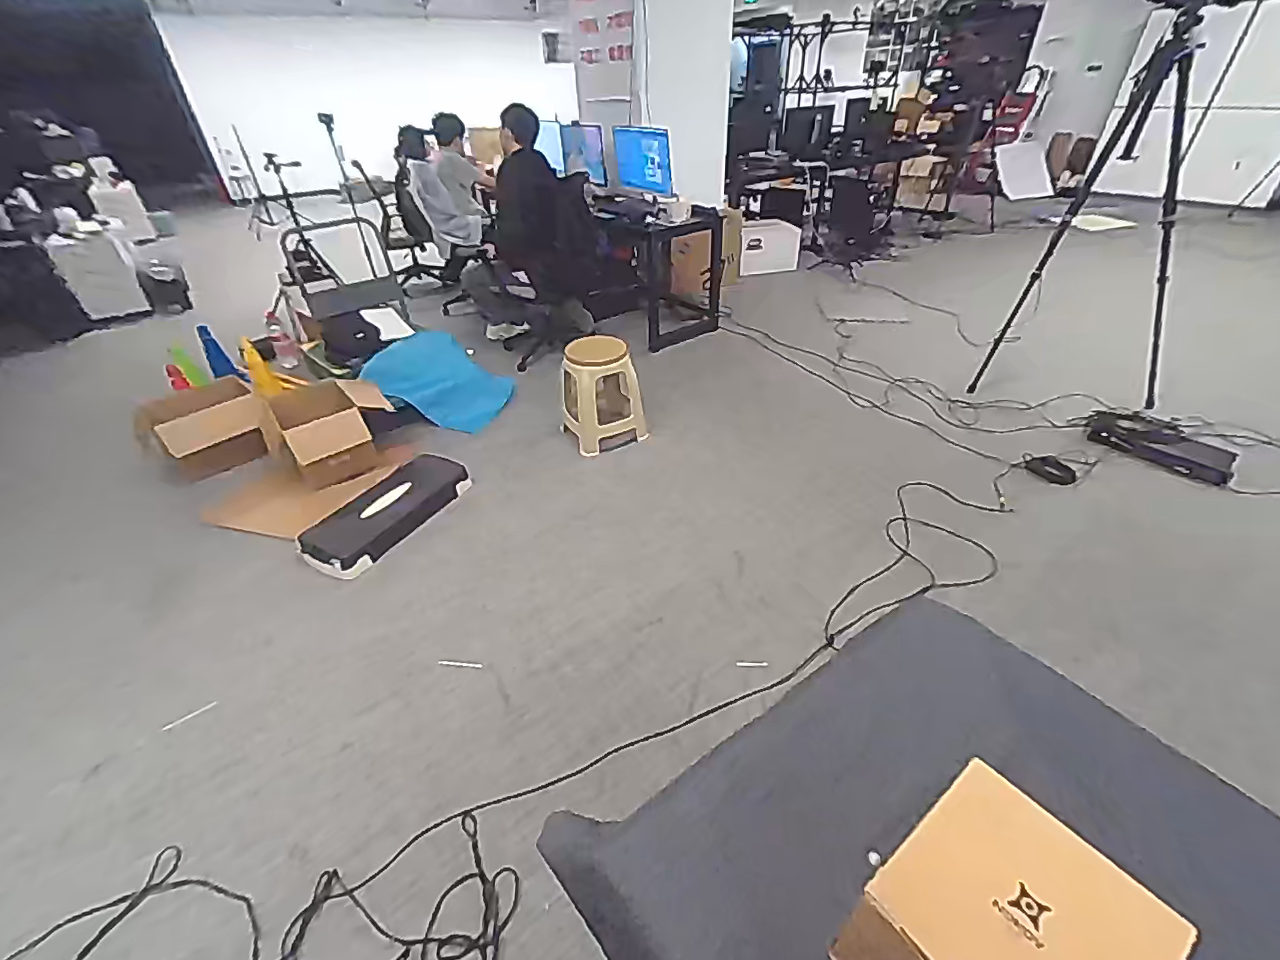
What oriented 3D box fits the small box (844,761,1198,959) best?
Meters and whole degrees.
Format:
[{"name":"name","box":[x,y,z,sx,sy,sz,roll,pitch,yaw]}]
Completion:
[{"name":"small box","box":[0.299,0.392,0.459,0.179,0.176,0.168,-26,43,-28]}]
